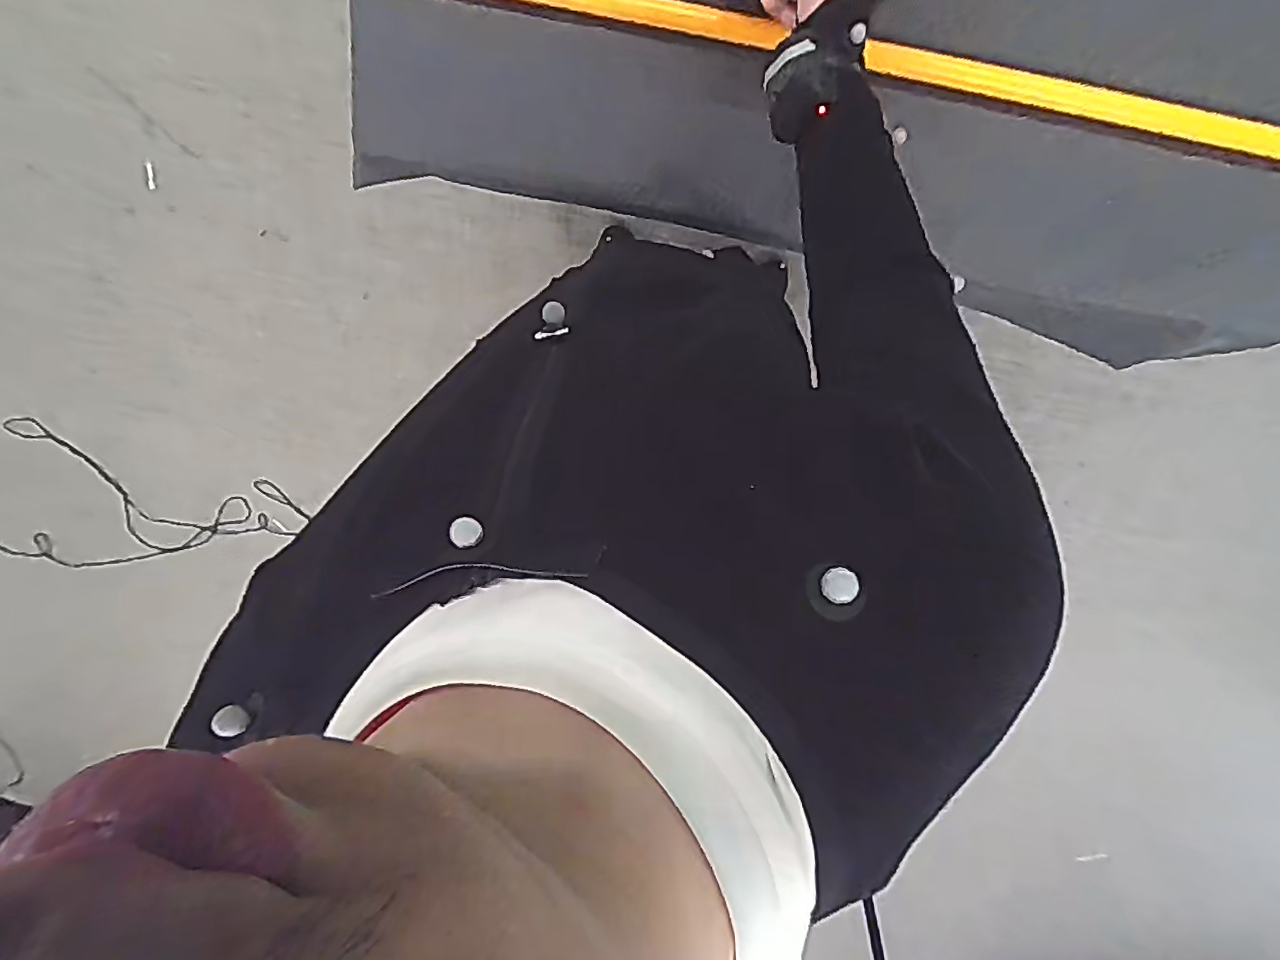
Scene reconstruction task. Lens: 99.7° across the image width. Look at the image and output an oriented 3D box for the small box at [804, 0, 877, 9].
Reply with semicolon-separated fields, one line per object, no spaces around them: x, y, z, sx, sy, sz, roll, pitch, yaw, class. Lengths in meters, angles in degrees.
0.179;-0.581;0.502;0.168;0.176;0.179;9;111;6;small box
